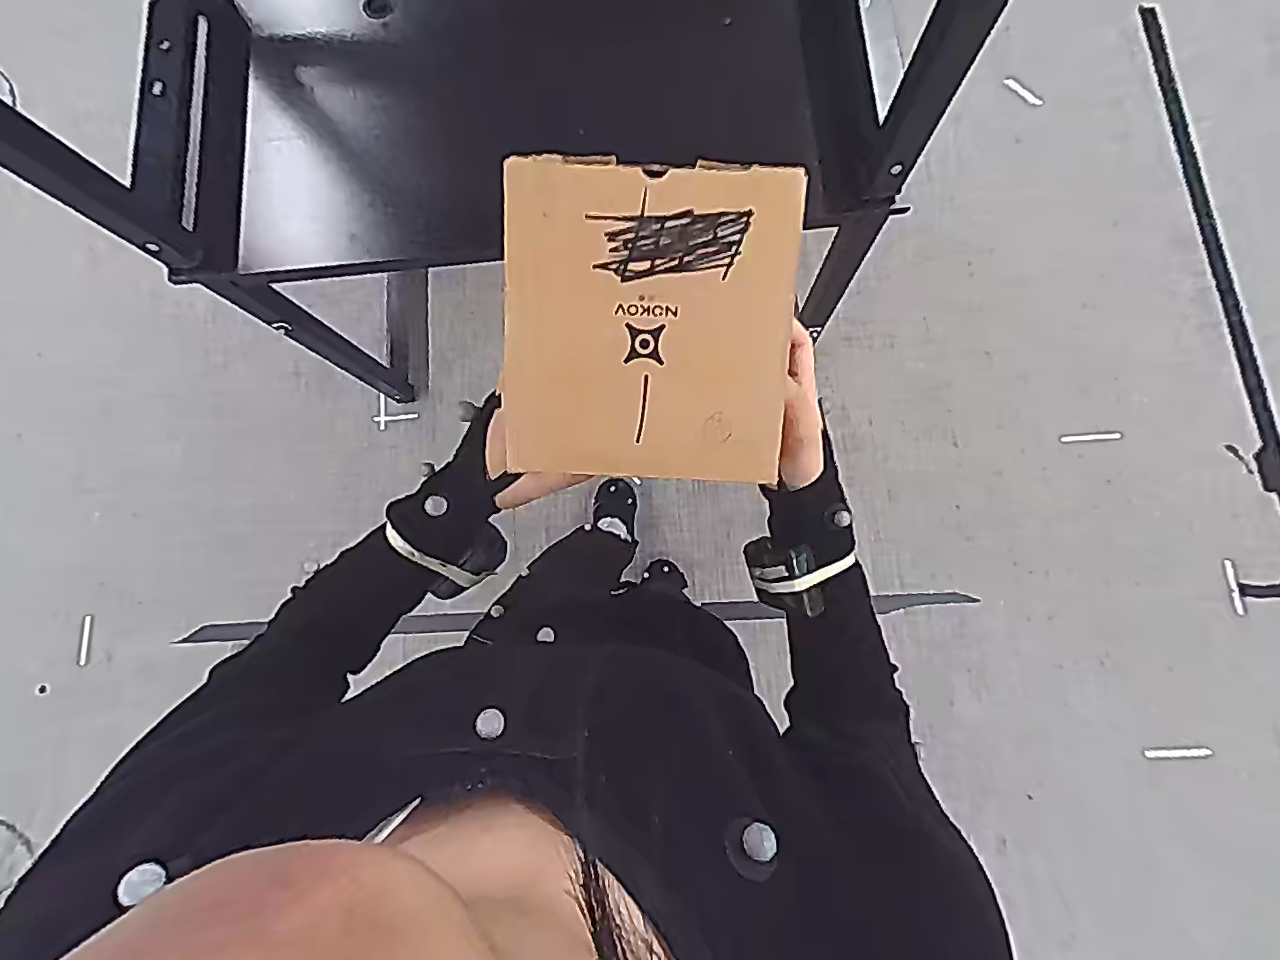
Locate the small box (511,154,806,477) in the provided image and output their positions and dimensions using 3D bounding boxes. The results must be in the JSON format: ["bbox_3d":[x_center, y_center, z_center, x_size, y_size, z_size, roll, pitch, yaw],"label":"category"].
[{"bbox_3d":[0.008,-0.105,0.390,0.168,0.176,0.179,2,101,1],"label":"small box"}]
